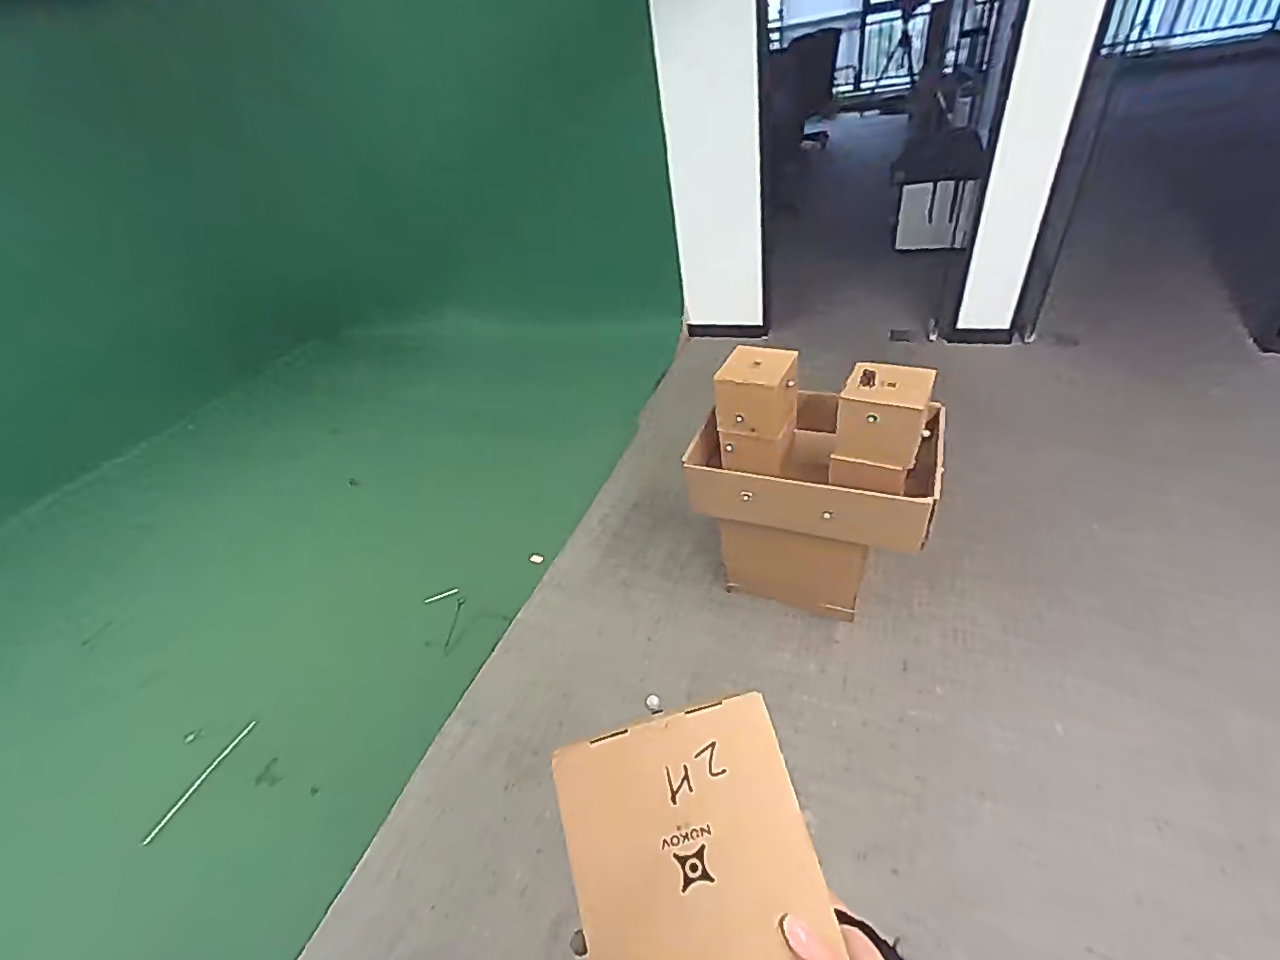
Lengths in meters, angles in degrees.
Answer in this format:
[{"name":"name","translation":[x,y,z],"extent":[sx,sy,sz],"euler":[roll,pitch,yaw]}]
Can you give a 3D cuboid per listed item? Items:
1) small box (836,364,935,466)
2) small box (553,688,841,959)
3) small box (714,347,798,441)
[{"name":"small box","translation":[0.572,-0.154,1.274],"extent":[0.179,0.176,0.168],"euler":[14,47,28]},{"name":"small box","translation":[0.036,0.282,0.451],"extent":[0.168,0.176,0.179],"euler":[-14,69,-5]},{"name":"small box","translation":[0.308,-0.229,1.431],"extent":[0.168,0.176,0.179],"euler":[14,47,28]}]
